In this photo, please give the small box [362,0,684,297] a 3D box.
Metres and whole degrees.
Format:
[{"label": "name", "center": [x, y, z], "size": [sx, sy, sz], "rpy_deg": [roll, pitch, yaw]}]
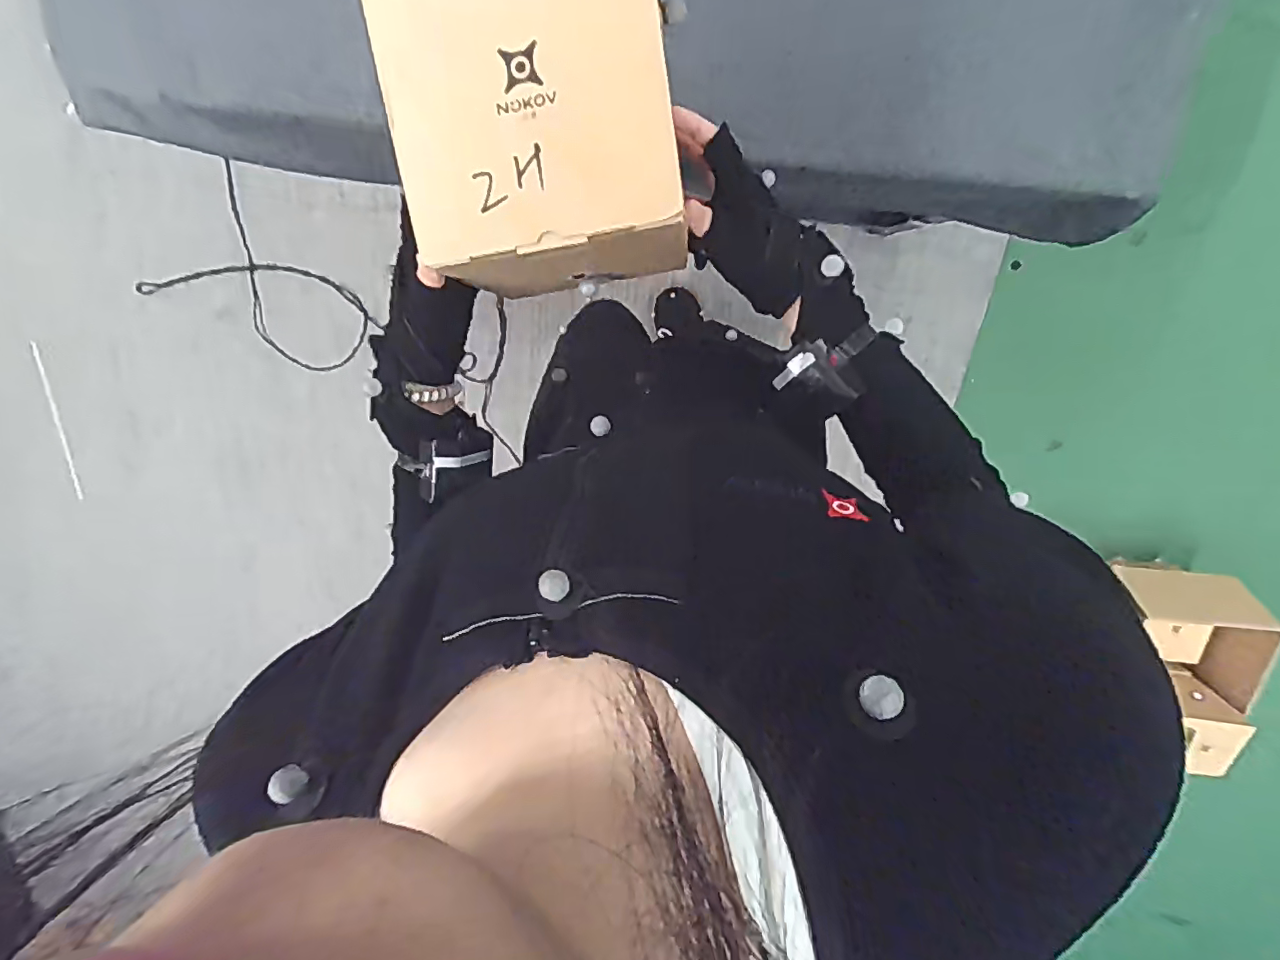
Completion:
[{"label": "small box", "center": [-0.061, -0.241, 0.386], "size": [0.168, 0.176, 0.179], "rpy_deg": [-8, 102, 7]}]
